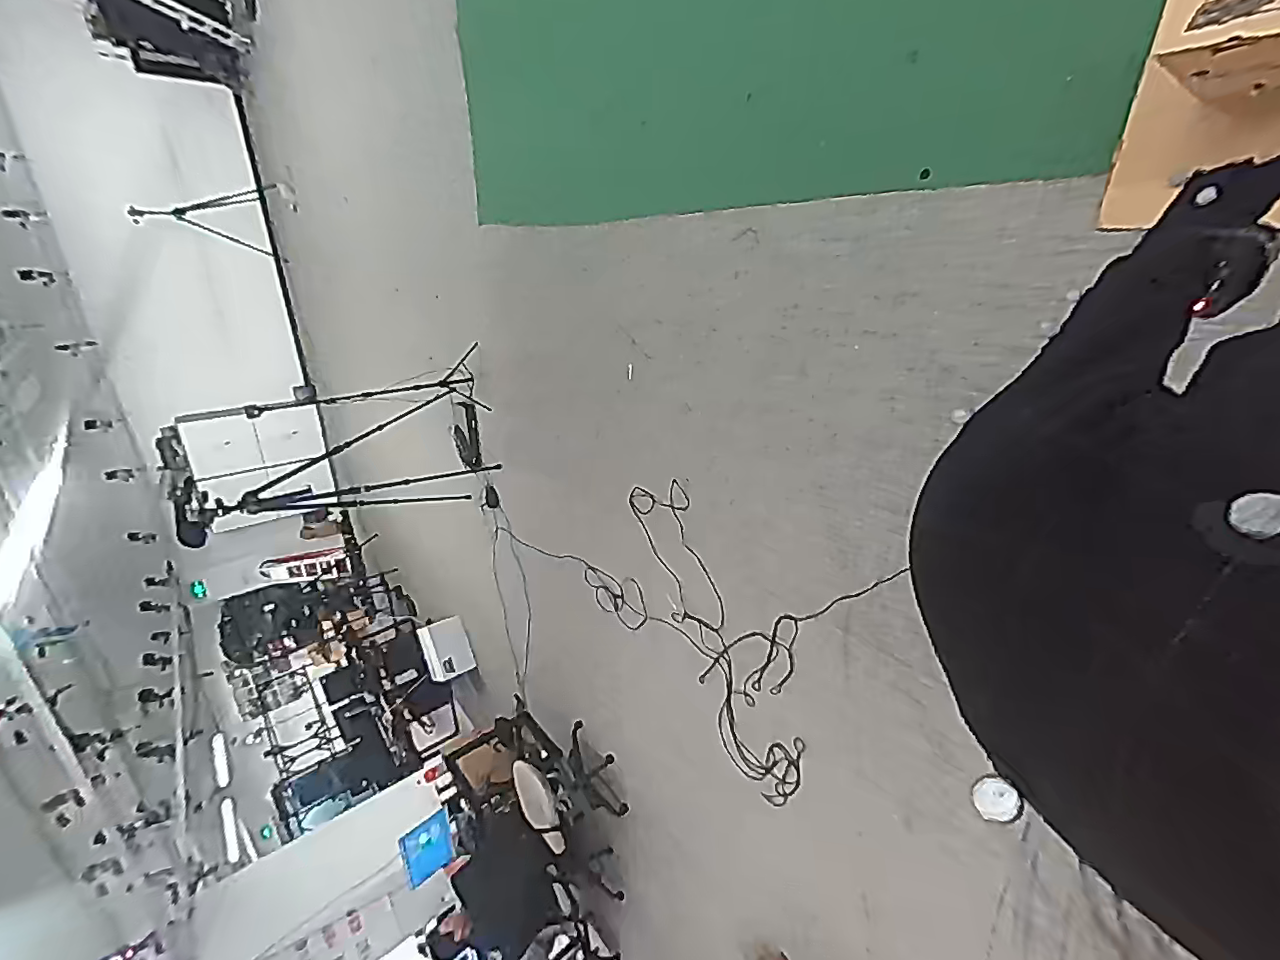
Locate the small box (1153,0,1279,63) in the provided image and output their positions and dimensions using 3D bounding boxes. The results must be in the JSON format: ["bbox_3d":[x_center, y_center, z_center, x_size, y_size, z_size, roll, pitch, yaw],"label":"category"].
[{"bbox_3d":[0.837,-0.680,0.715,0.168,0.176,0.179,28,125,45],"label":"small box"}]

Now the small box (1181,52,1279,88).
[{"bbox_3d":[0.966,-0.719,0.809,0.168,0.176,0.179,26,125,46],"label":"small box"}]
